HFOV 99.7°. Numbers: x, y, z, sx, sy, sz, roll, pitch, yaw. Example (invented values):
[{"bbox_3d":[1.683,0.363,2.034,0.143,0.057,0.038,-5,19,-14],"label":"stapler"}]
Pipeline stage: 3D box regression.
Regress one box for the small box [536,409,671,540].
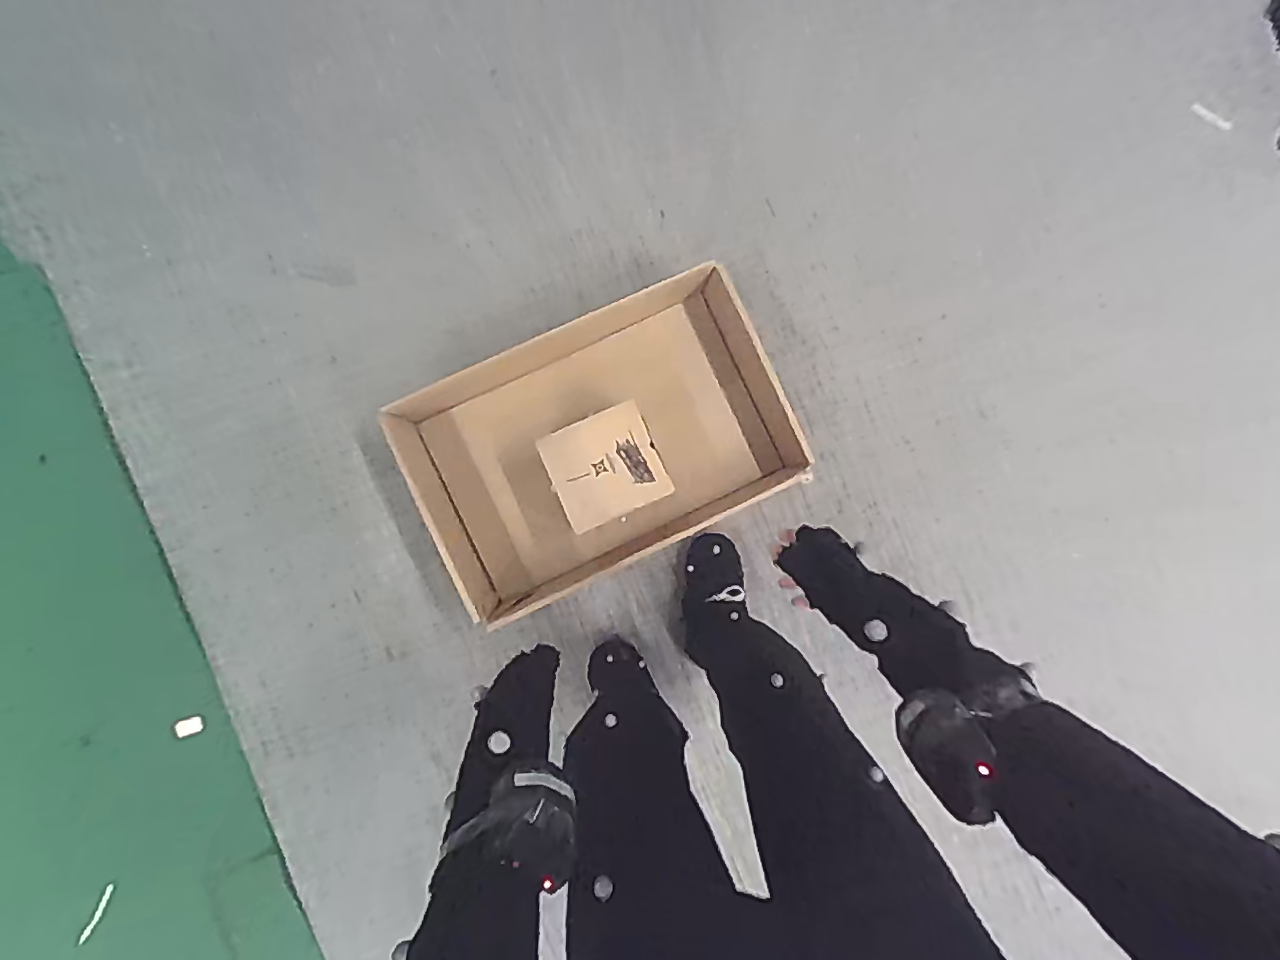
[{"bbox_3d":[-0.062,-0.008,0.949,0.179,0.176,0.168,-23,89,-3],"label":"small box"}]
